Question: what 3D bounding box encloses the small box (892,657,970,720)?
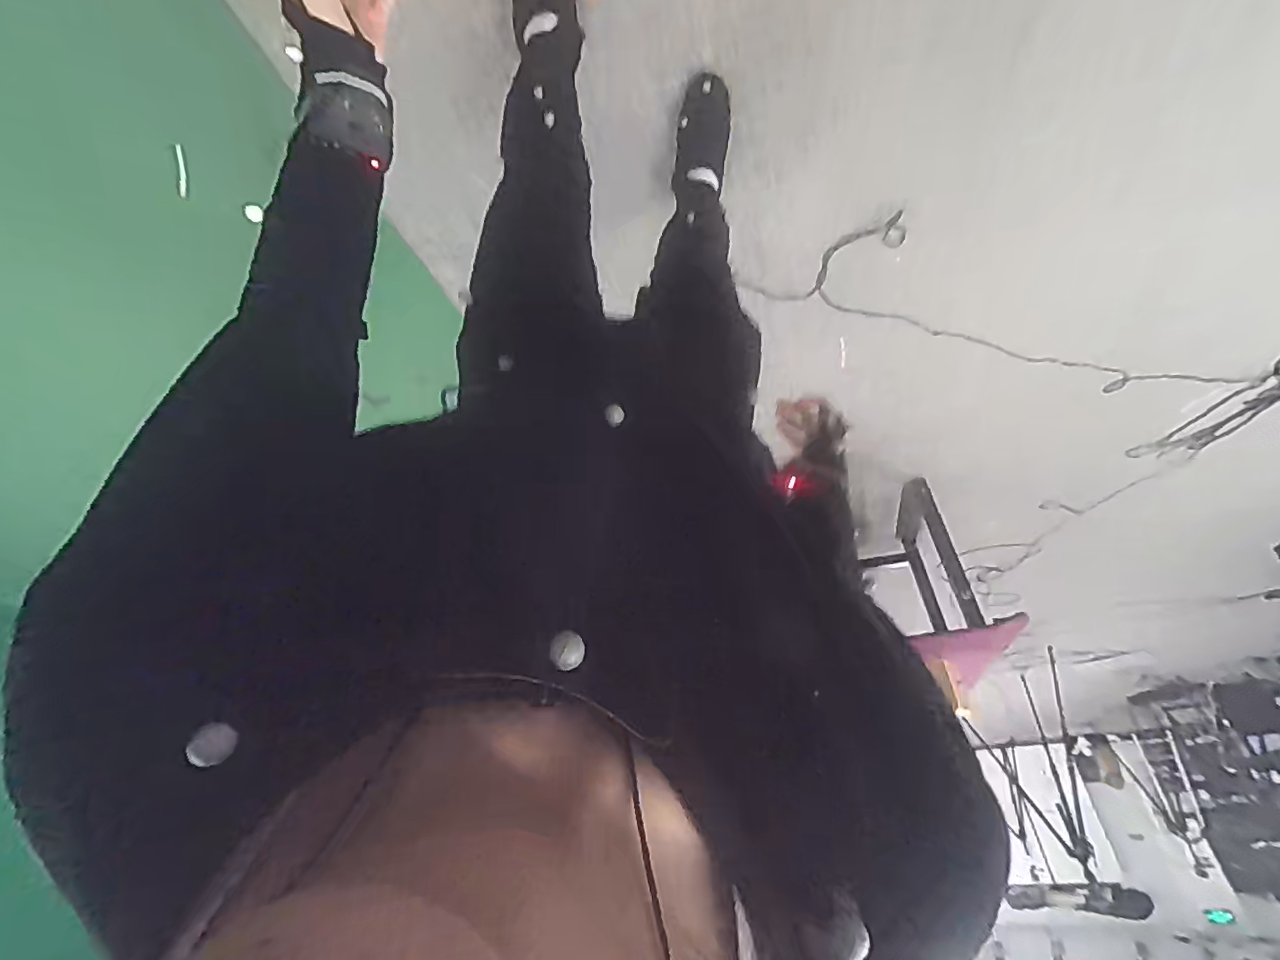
[{"bbox_3d":[1.026,0.738,1.913,0.179,0.176,0.168,-29,138,32],"label":"small box"}]
